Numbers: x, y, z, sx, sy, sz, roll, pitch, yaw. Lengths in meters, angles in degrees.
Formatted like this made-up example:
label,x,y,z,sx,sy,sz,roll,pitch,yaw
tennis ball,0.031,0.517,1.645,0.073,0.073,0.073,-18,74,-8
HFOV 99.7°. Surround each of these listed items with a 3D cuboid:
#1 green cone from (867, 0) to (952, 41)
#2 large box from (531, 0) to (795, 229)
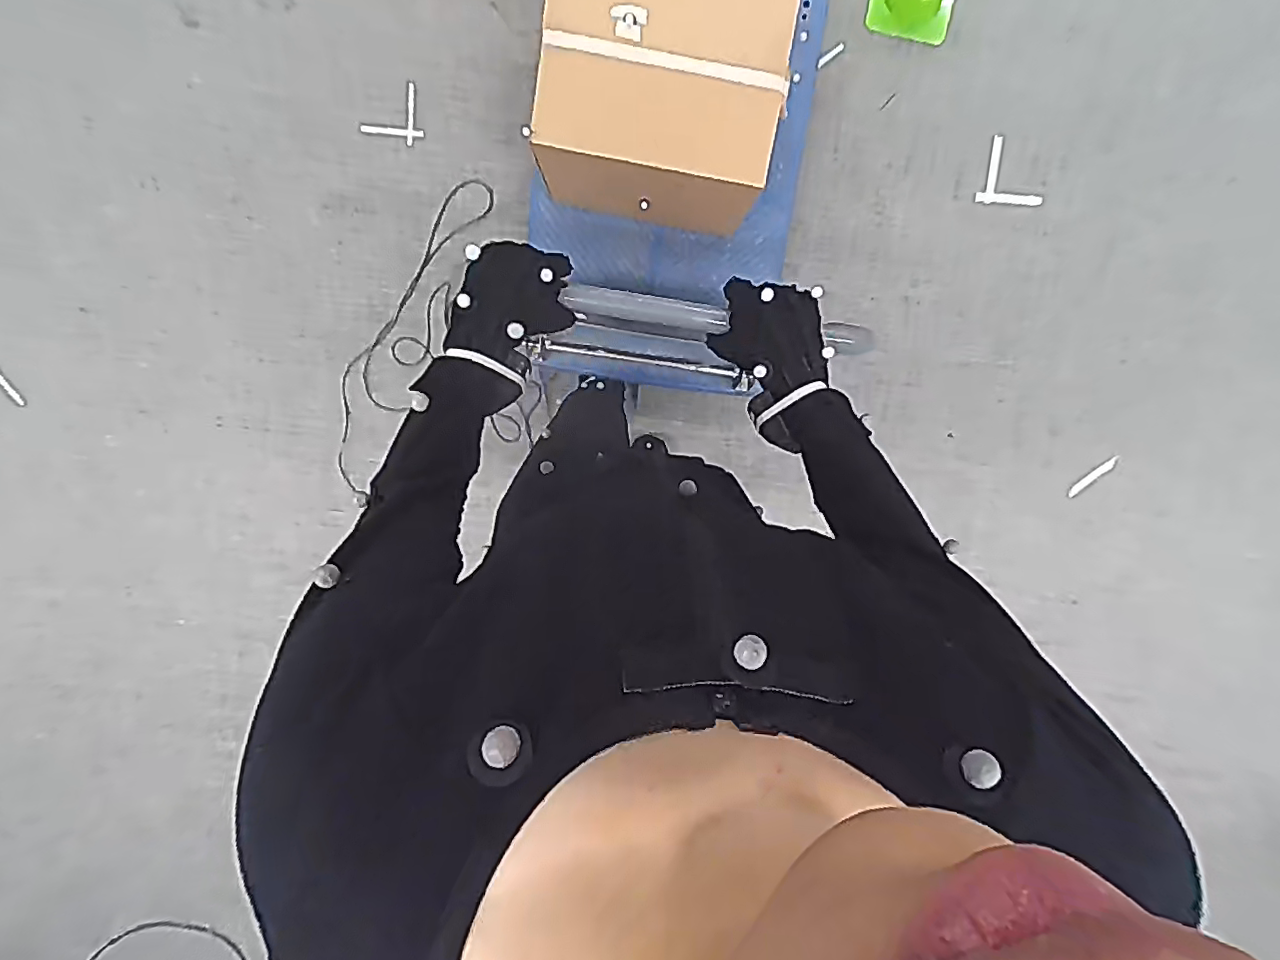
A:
label,x,y,z,sx,sy,sz,roll,pitch,yaw
green cone,0.663,-1.151,1.126,0.202,0.368,0.200,9,99,-4
large box,0.036,-0.706,1.033,0.408,0.320,0.320,10,99,-2
